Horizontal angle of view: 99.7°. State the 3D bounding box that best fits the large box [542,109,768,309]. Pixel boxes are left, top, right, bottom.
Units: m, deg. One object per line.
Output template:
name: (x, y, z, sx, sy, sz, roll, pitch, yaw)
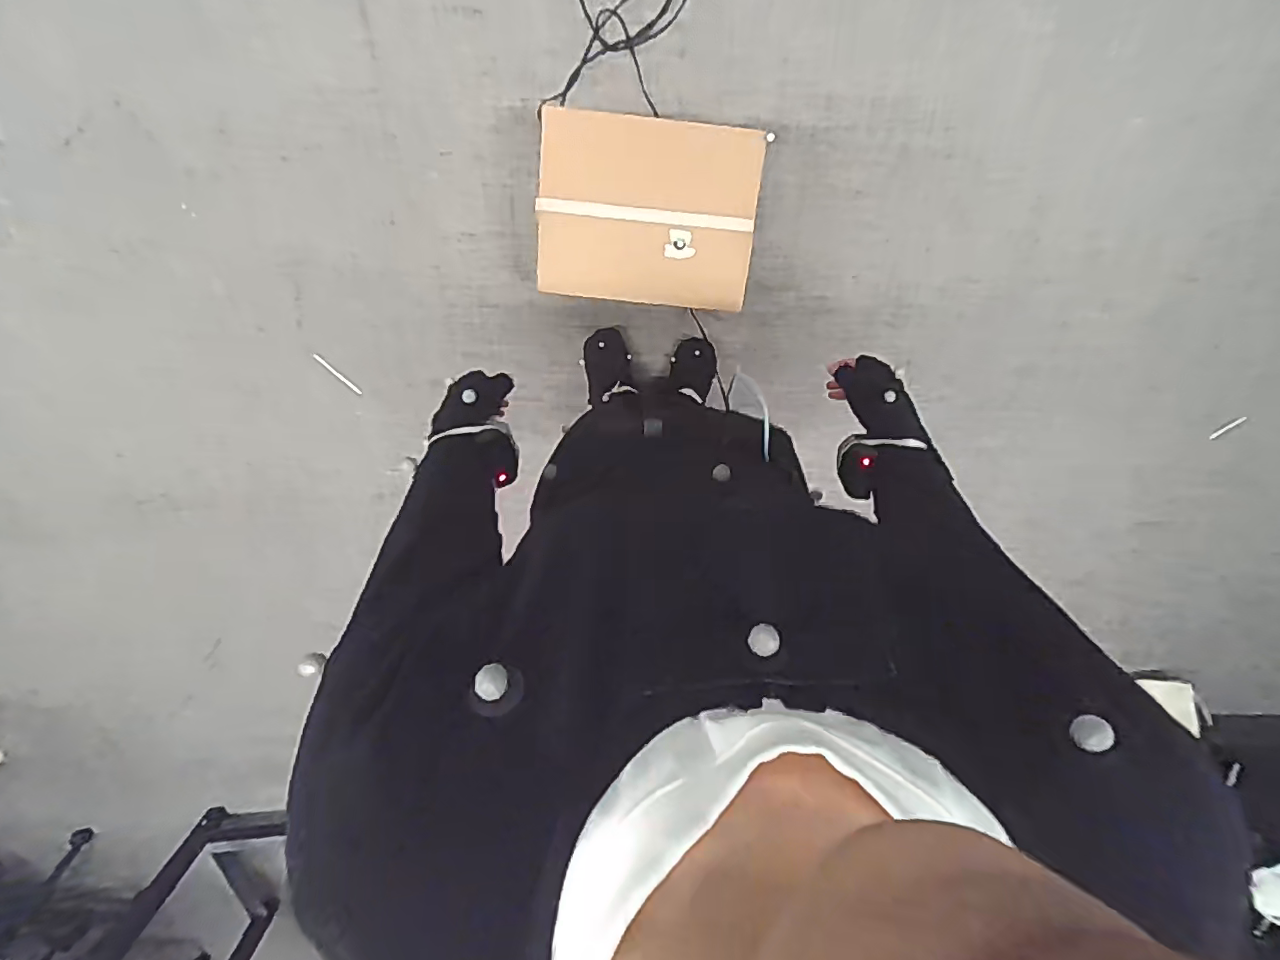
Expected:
large box: (0.017, -0.541, 1.145, 0.408, 0.320, 0.320, 5, 110, -2)
